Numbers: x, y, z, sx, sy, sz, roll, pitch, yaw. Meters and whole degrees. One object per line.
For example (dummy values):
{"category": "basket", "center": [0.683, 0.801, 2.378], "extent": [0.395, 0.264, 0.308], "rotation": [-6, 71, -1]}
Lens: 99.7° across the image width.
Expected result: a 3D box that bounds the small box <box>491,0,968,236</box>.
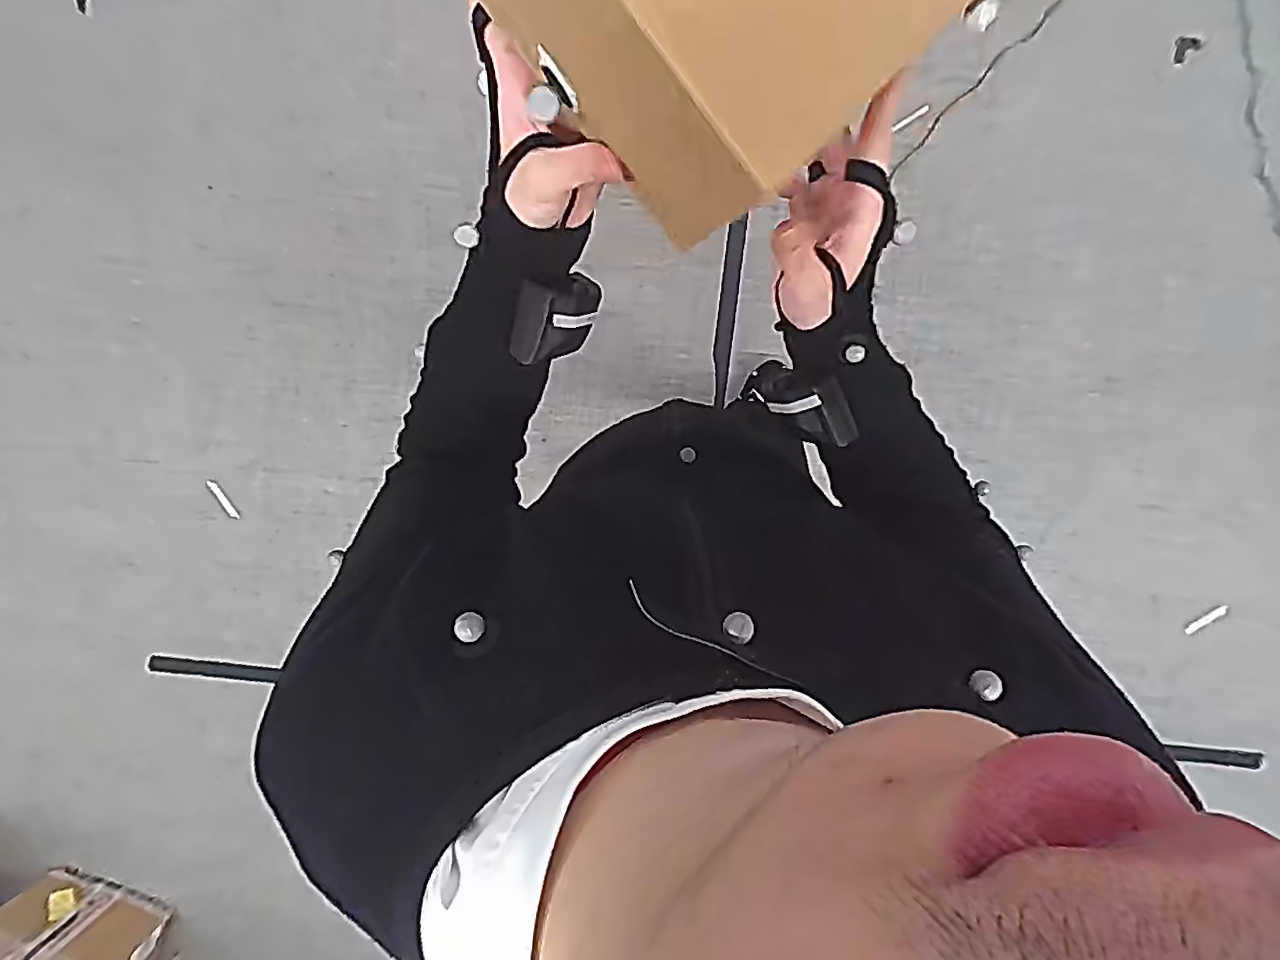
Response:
{"category": "small box", "center": [0.039, -0.225, 0.209], "extent": [0.168, 0.176, 0.179], "rotation": [42, 102, -15]}
